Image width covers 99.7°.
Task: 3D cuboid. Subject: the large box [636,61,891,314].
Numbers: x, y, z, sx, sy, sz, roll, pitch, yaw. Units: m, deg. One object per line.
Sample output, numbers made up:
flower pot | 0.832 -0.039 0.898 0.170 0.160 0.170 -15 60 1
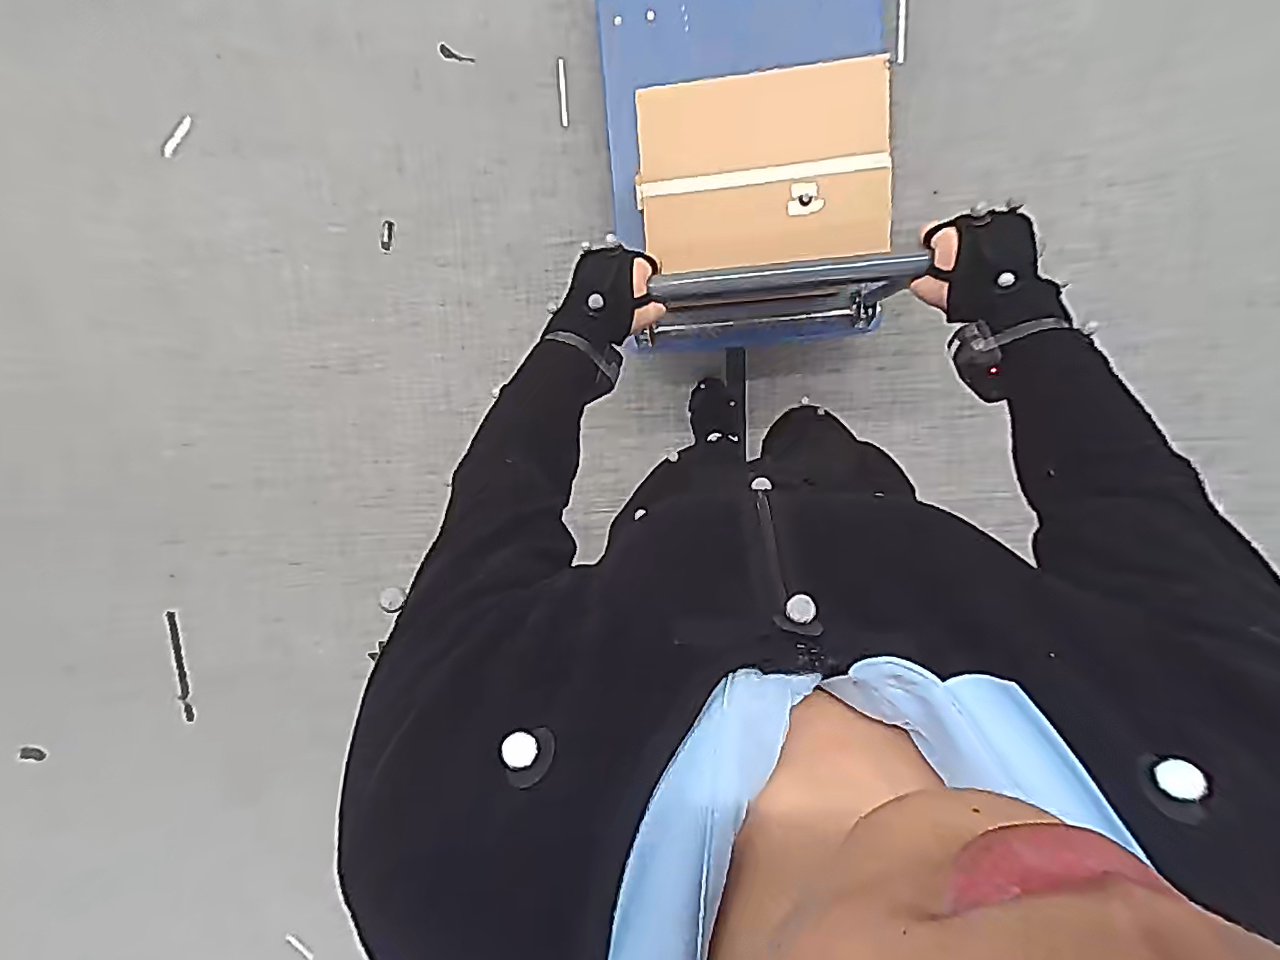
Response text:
large box | 0.216 -0.513 1.030 0.408 0.320 0.320 -3 100 6
